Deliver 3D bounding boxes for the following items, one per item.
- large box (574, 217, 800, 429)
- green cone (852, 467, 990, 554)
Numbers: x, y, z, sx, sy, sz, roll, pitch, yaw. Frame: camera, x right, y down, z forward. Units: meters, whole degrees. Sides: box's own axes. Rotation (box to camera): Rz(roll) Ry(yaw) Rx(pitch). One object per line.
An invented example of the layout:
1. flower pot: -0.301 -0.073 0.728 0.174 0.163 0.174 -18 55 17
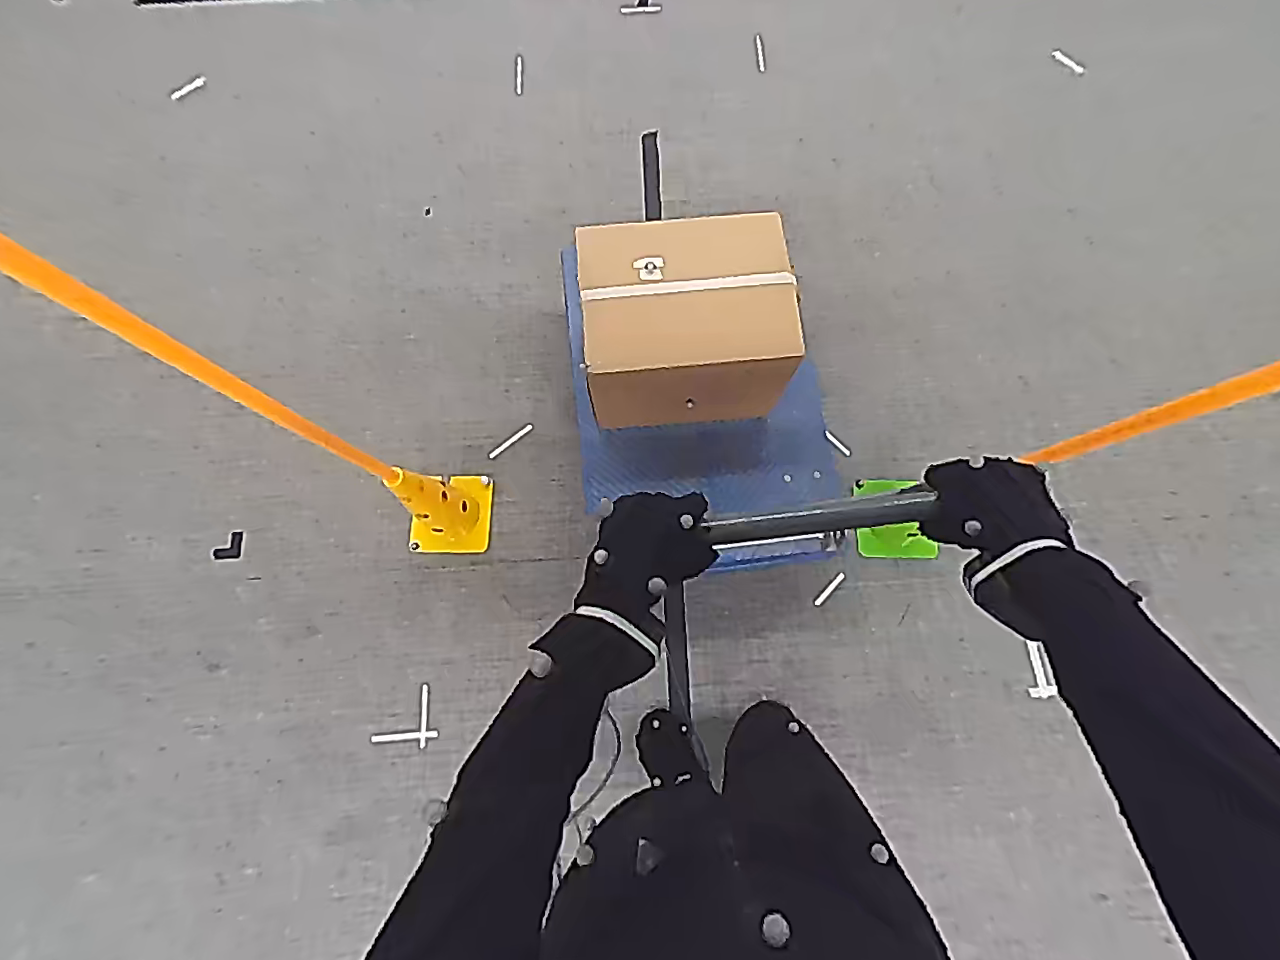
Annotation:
1. large box: 0.087 -0.316 1.170 0.408 0.320 0.320 -5 76 0
2. green cone: 0.650 0.045 1.217 0.202 0.368 0.200 1 75 -1
